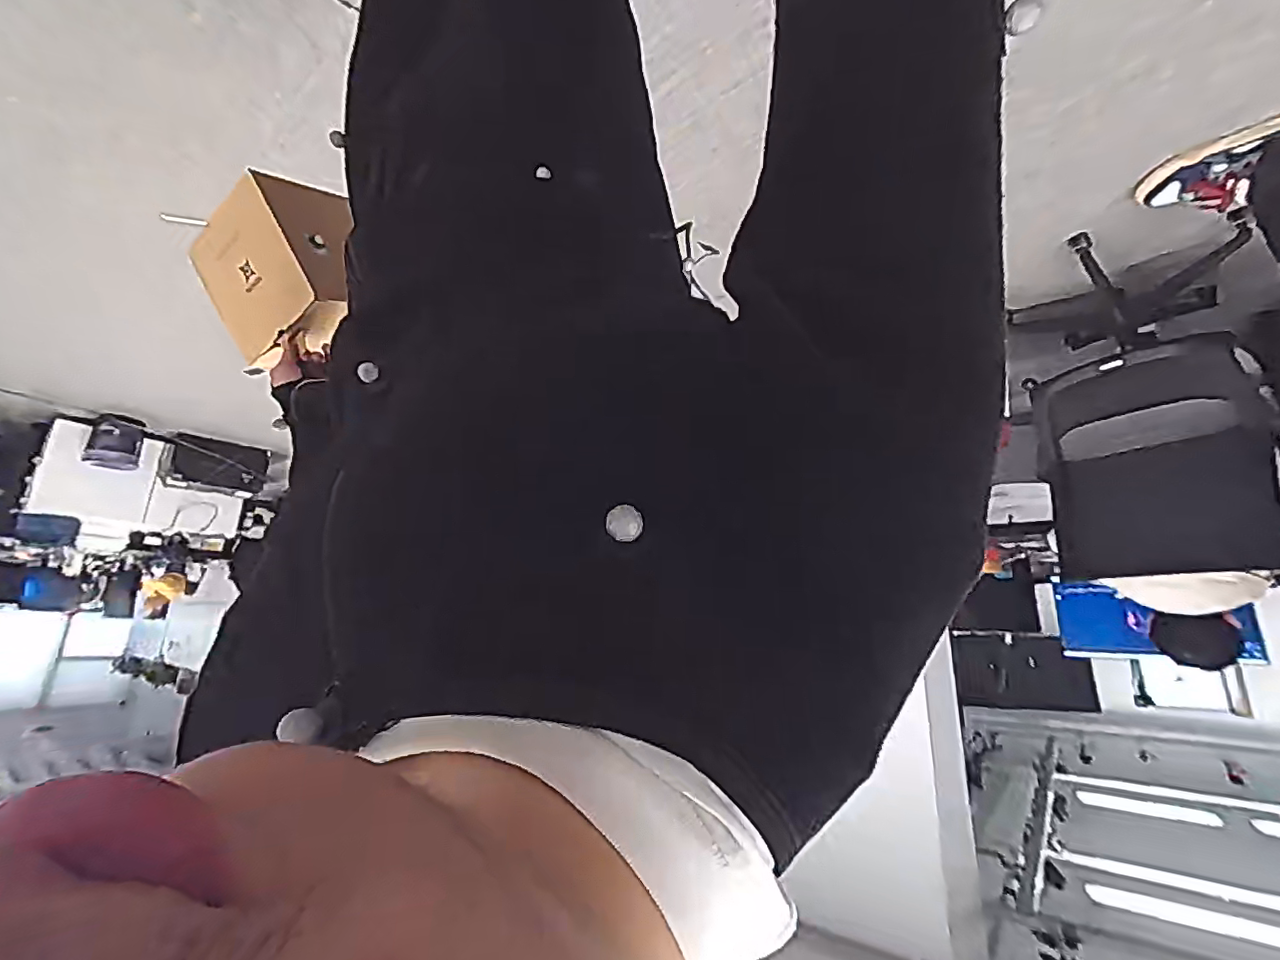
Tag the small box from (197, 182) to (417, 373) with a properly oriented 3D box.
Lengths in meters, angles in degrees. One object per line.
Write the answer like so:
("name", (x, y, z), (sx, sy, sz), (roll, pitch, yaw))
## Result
("small box", (-0.450, -0.267, 0.751), (0.168, 0.179, 0.176), (-27, 180, 25))
